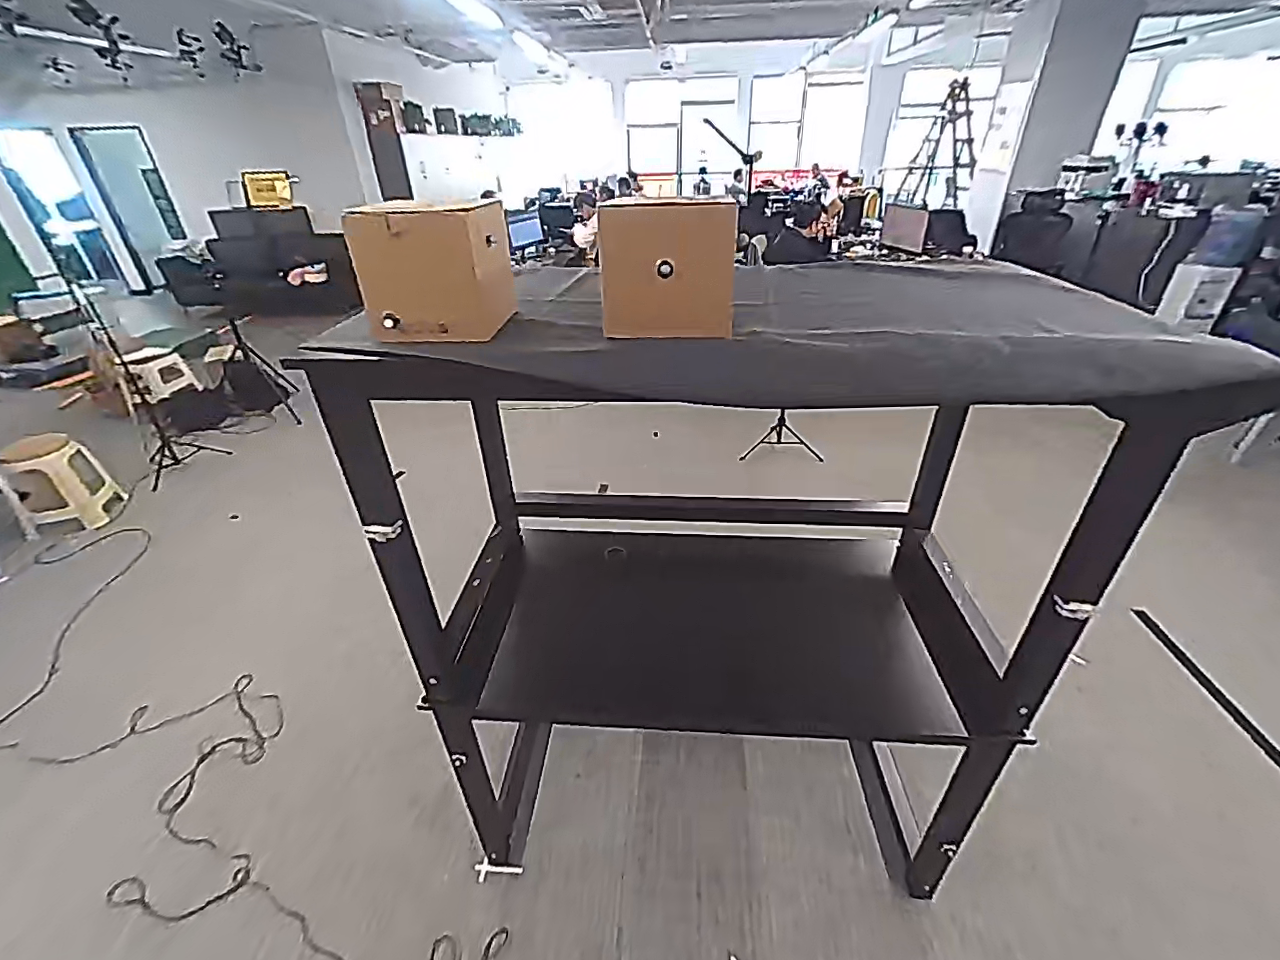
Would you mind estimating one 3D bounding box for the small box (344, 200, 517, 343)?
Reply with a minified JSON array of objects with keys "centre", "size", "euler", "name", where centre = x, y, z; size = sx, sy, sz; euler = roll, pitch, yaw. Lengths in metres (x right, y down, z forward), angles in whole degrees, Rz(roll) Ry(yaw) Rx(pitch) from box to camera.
[{"centre":[-0.285,-0.303,0.786],"size":[0.168,0.176,0.179],"euler":[1,31,3],"name":"small box"}]
